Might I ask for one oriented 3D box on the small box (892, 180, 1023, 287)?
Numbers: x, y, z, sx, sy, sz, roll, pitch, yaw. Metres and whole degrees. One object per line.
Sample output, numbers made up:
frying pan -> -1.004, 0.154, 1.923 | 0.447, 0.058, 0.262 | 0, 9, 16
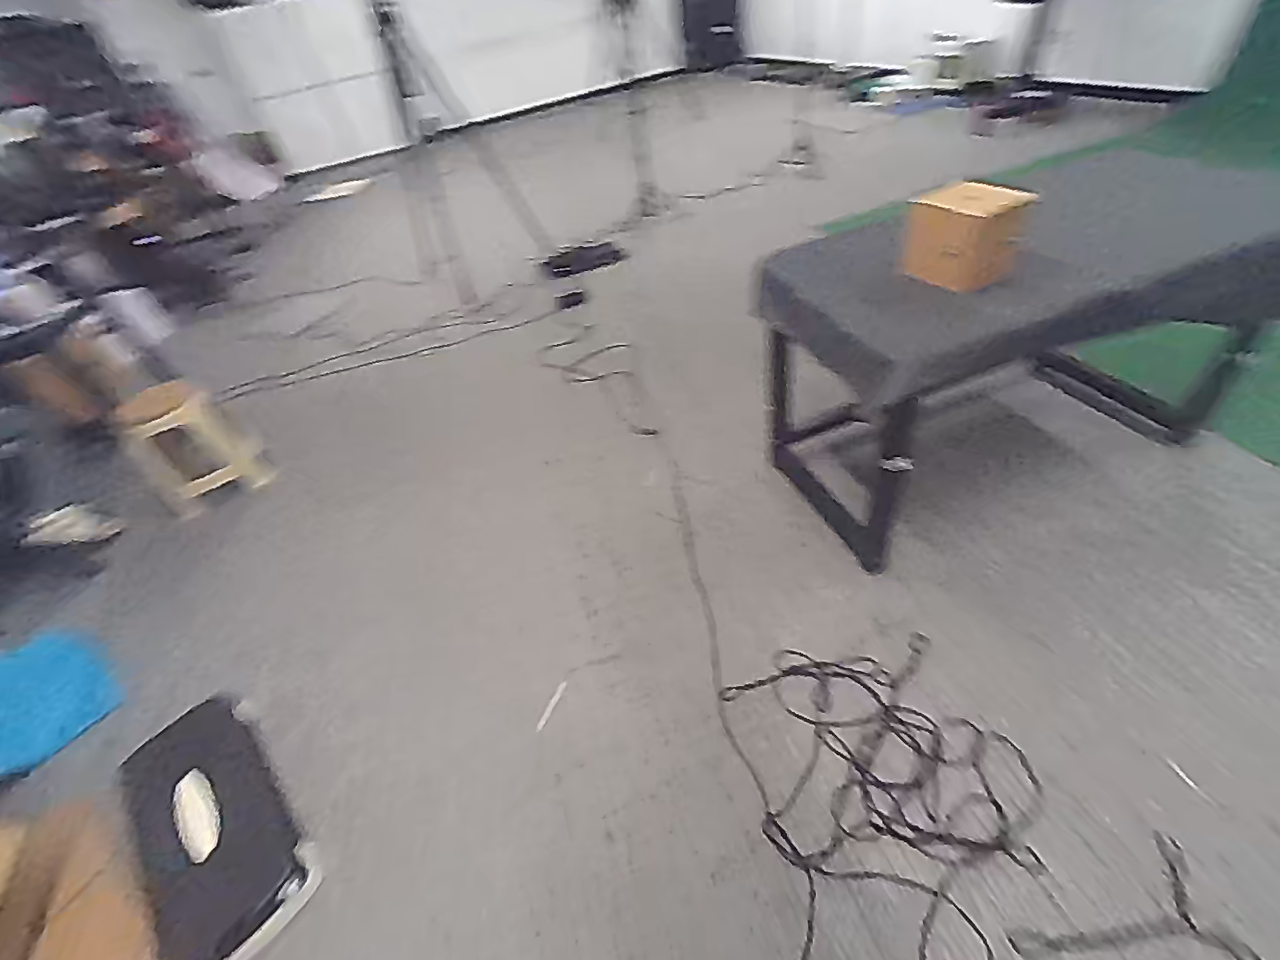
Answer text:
small box -> 0.707, -0.555, 1.225 | 0.168, 0.176, 0.179 | -25, 43, -15
